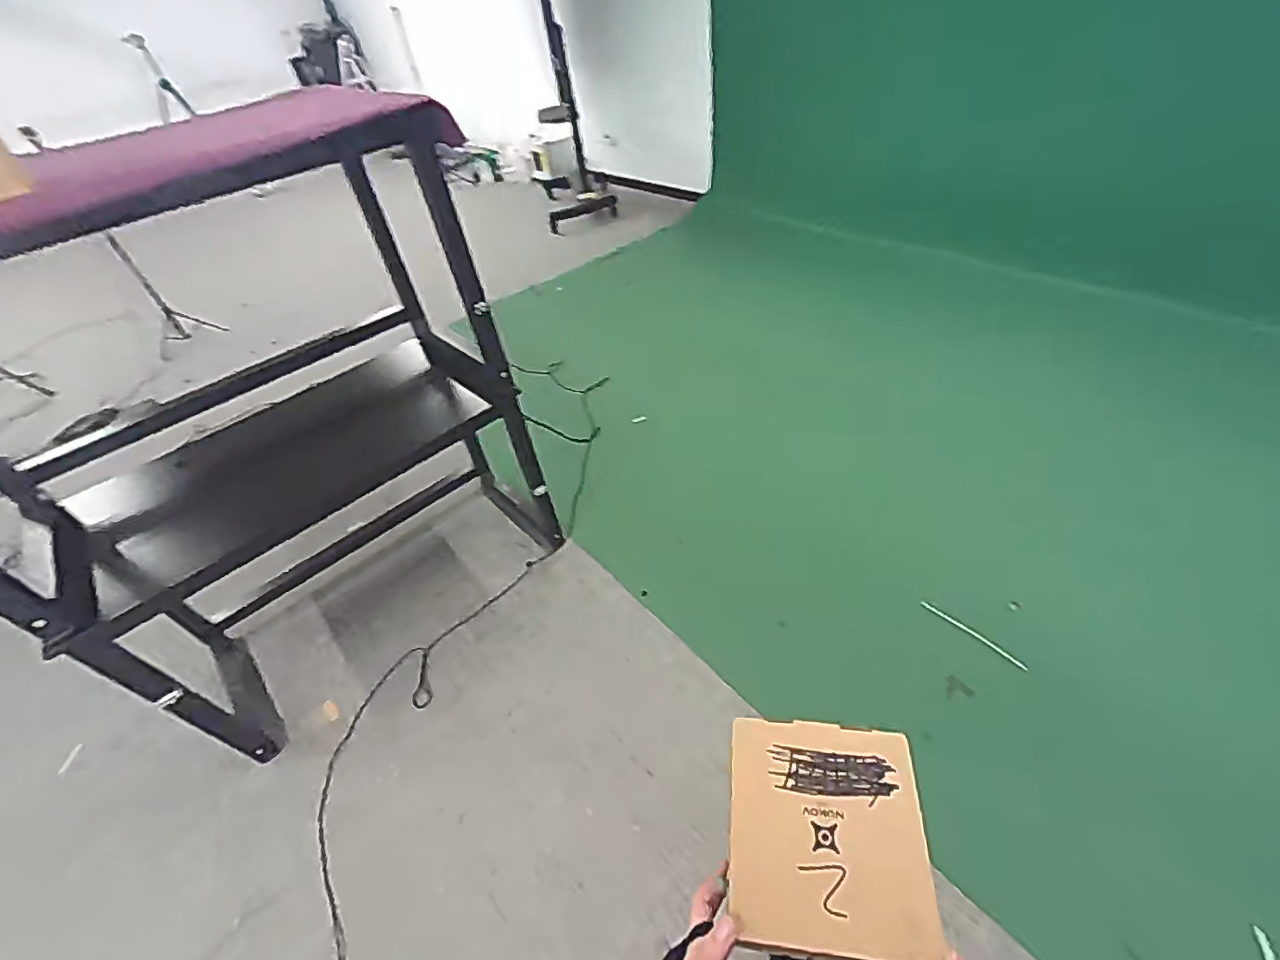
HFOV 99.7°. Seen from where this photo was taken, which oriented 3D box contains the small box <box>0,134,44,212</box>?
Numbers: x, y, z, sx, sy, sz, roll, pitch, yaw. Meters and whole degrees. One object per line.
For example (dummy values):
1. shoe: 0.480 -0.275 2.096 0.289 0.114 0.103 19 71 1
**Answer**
1. small box: -1.080 -0.499 0.826 0.168 0.176 0.179 -35 47 -25
